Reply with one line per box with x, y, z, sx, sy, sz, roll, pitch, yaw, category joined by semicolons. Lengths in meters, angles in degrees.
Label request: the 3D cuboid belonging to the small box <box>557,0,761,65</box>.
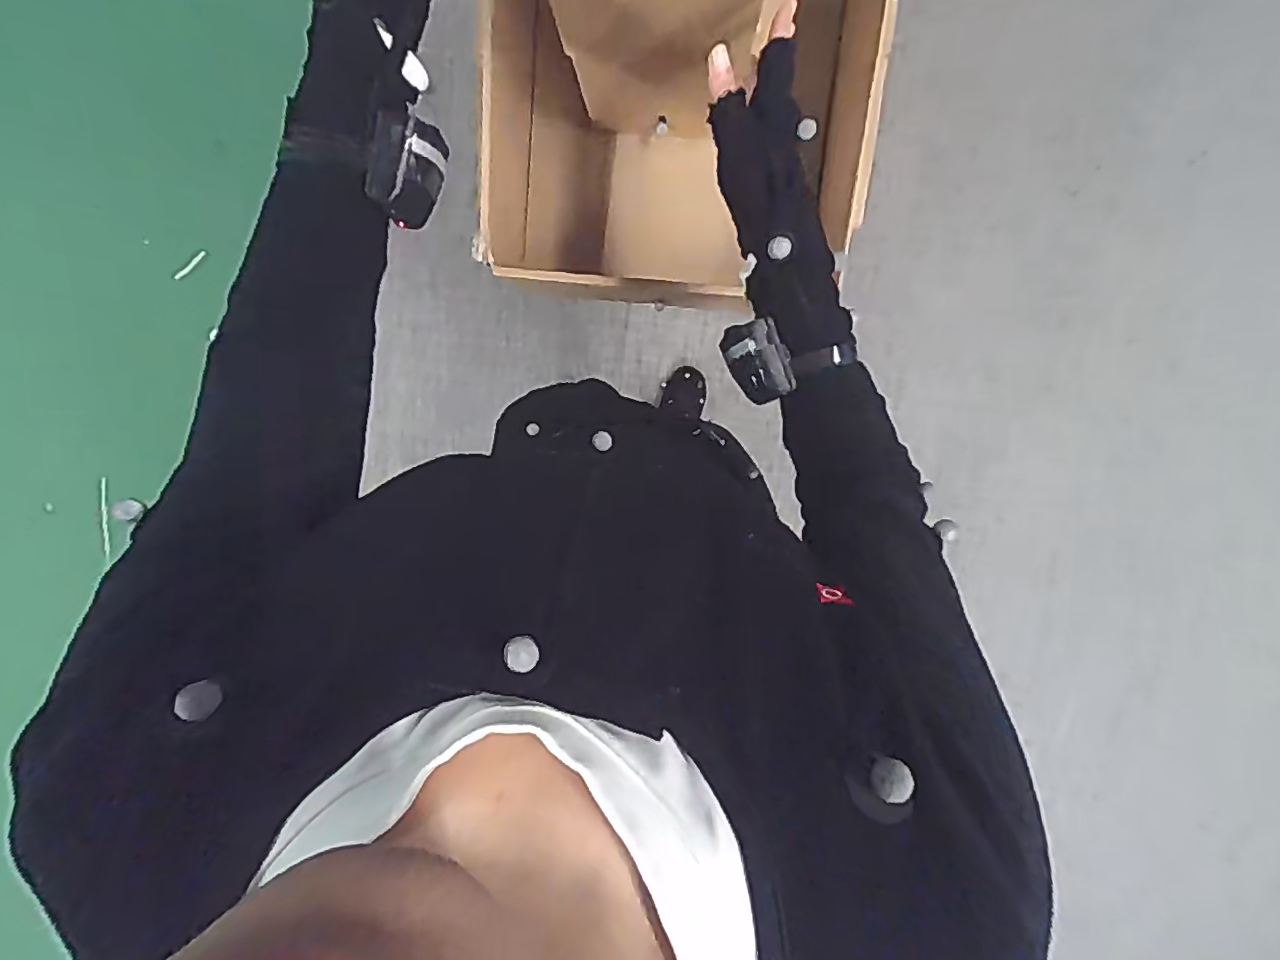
0.021;-0.462;0.417;0.179;0.176;0.168;8;101;1;small box

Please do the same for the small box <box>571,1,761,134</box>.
0.031;-0.497;0.577;0.179;0.176;0.168;6;100;2;small box
